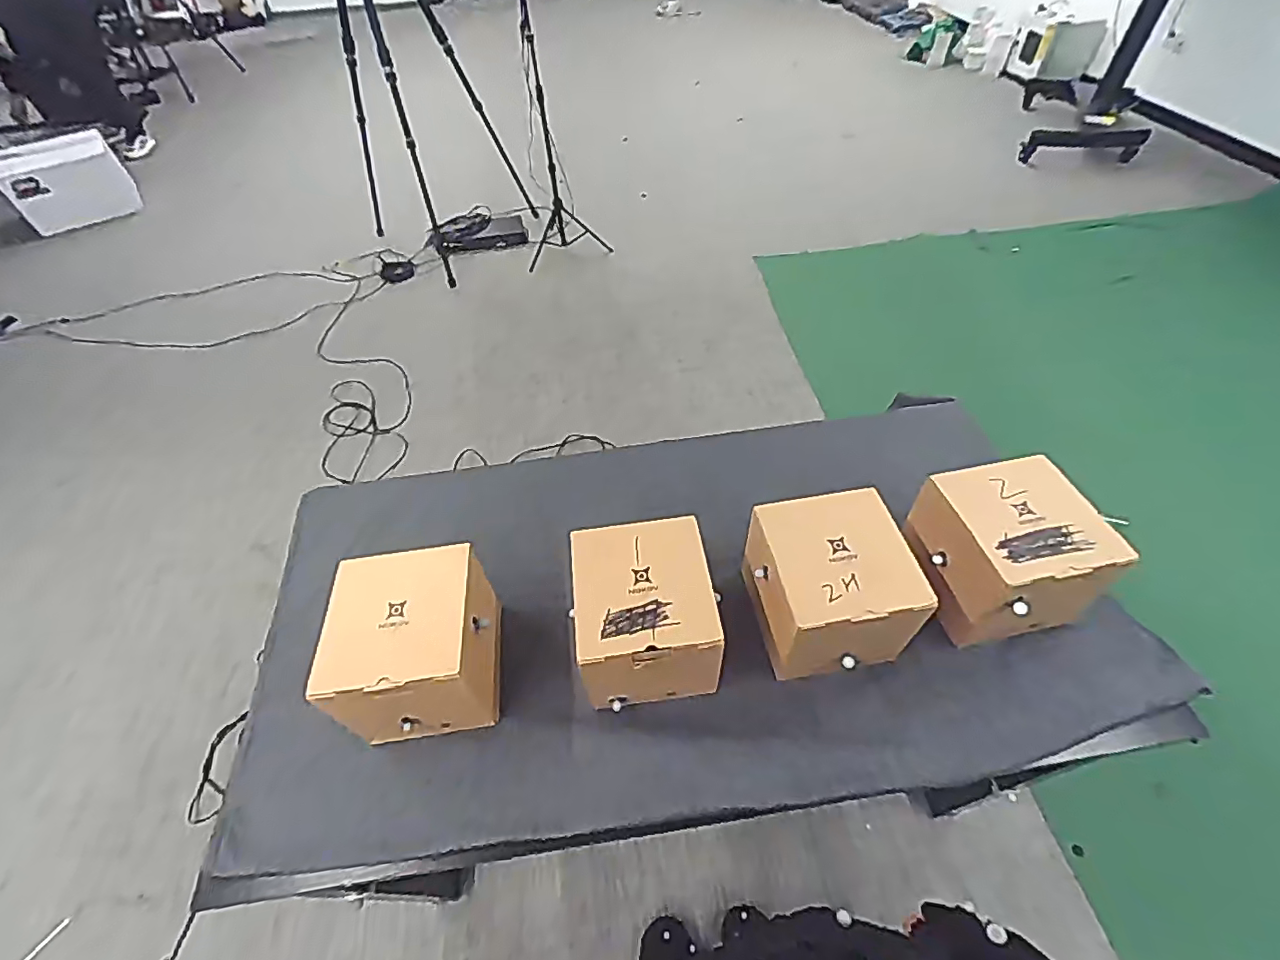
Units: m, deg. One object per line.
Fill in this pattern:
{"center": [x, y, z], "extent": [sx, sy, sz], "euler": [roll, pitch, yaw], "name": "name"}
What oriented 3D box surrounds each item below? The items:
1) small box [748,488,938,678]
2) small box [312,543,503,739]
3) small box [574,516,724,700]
{"center": [0.248, 0.138, 0.717], "extent": [0.168, 0.176, 0.179], "euler": [-9, 51, -2], "name": "small box"}
{"center": [-0.277, 0.207, 0.692], "extent": [0.168, 0.176, 0.179], "euler": [-7, 50, -4], "name": "small box"}
{"center": [0.009, 0.173, 0.704], "extent": [0.168, 0.176, 0.179], "euler": [-7, 50, -2], "name": "small box"}
